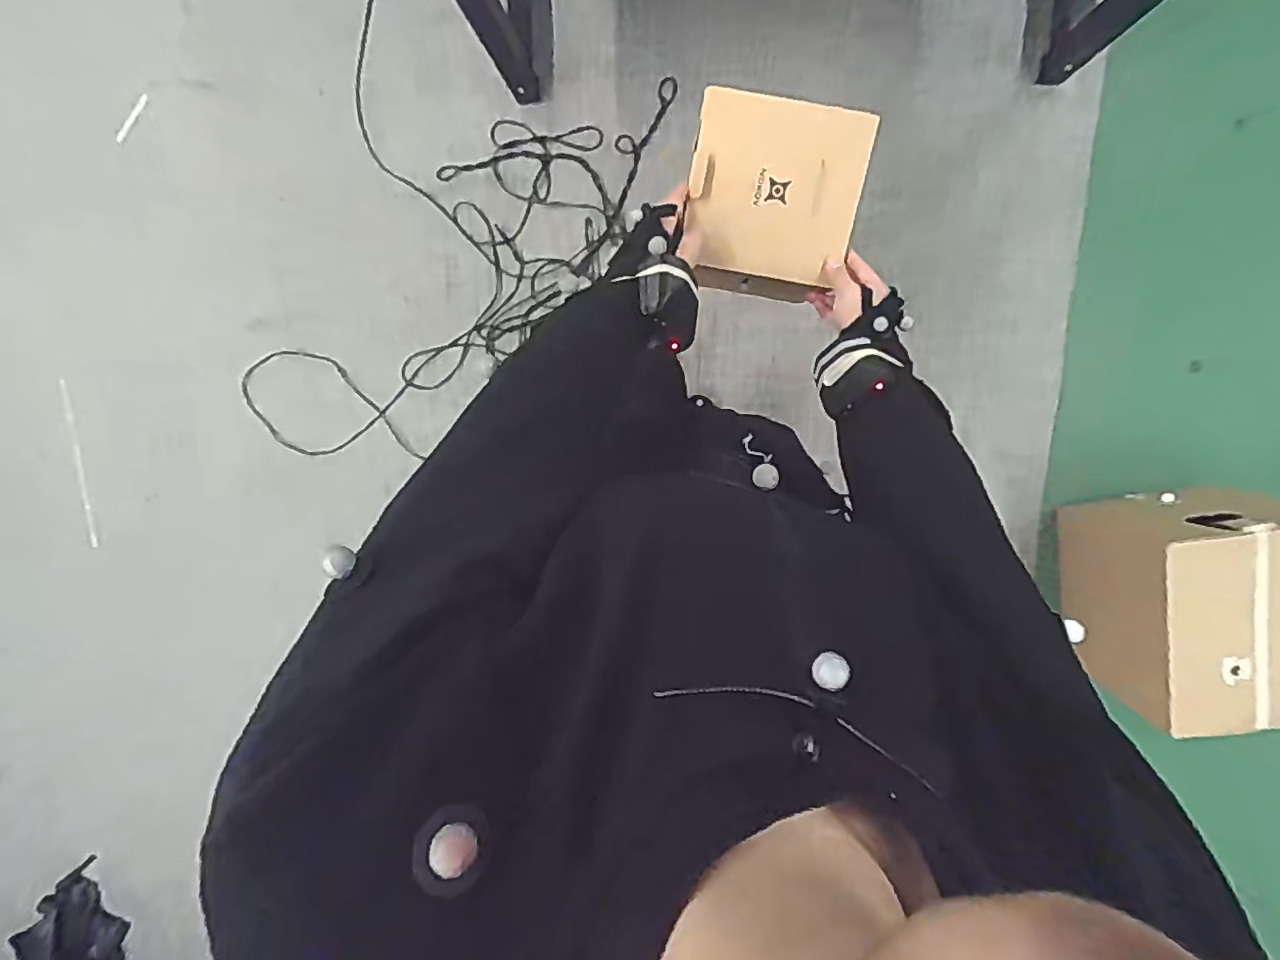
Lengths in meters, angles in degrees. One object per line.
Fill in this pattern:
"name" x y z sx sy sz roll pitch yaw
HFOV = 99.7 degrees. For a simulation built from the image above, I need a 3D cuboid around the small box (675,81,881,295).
"small box" 0.139 -0.314 0.620 0.179 0.176 0.168 10 104 -1
